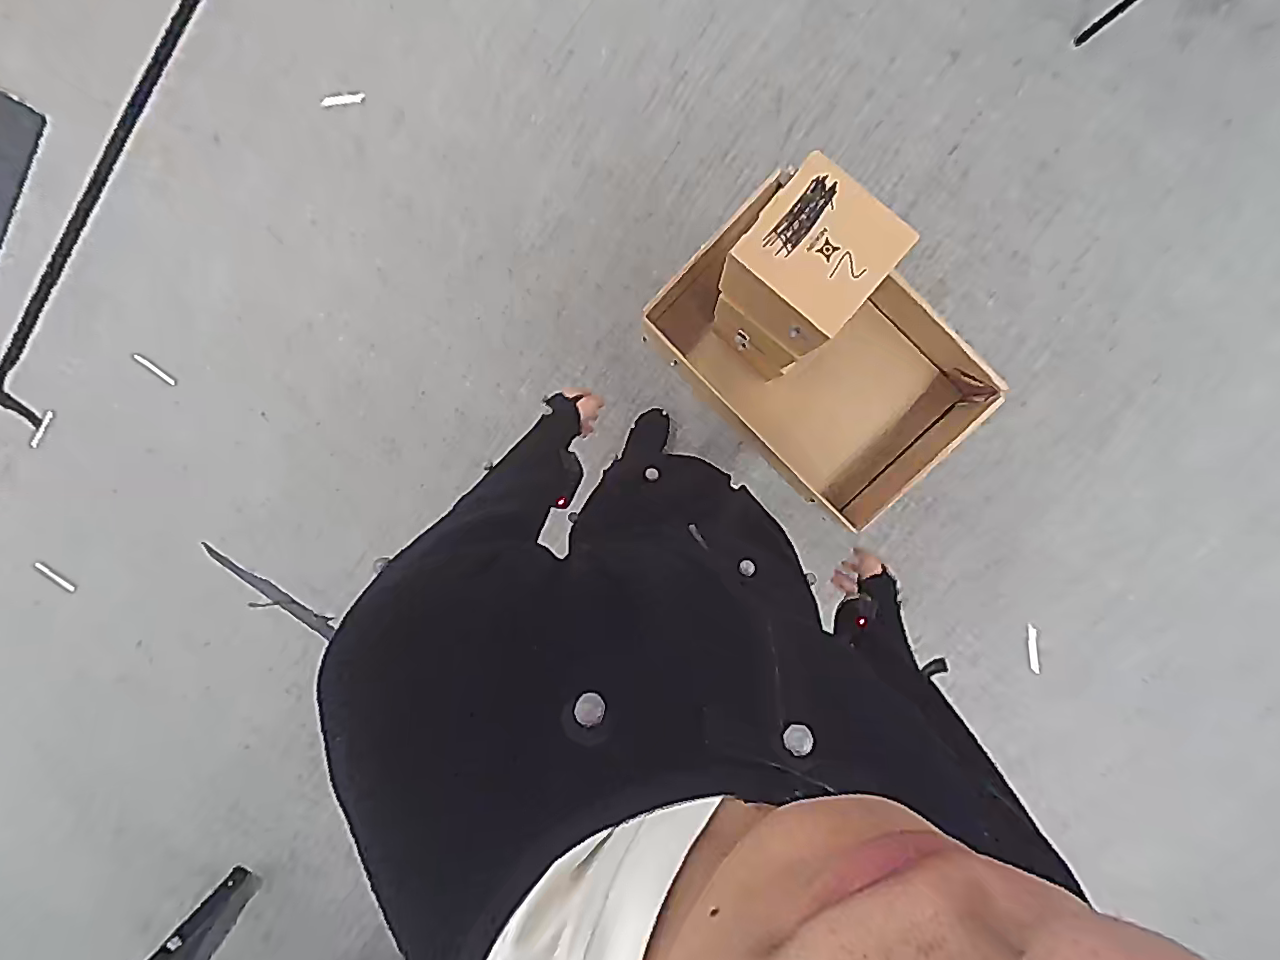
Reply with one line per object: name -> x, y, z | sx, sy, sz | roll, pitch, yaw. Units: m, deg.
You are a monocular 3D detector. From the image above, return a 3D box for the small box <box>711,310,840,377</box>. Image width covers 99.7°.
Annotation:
small box -> 0.260, -0.322, 1.089 | 0.179, 0.176, 0.168 | 41, 97, -2

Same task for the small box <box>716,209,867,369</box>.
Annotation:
small box -> 0.244, -0.313, 0.926 | 0.168, 0.176, 0.179 | 39, 97, 0
